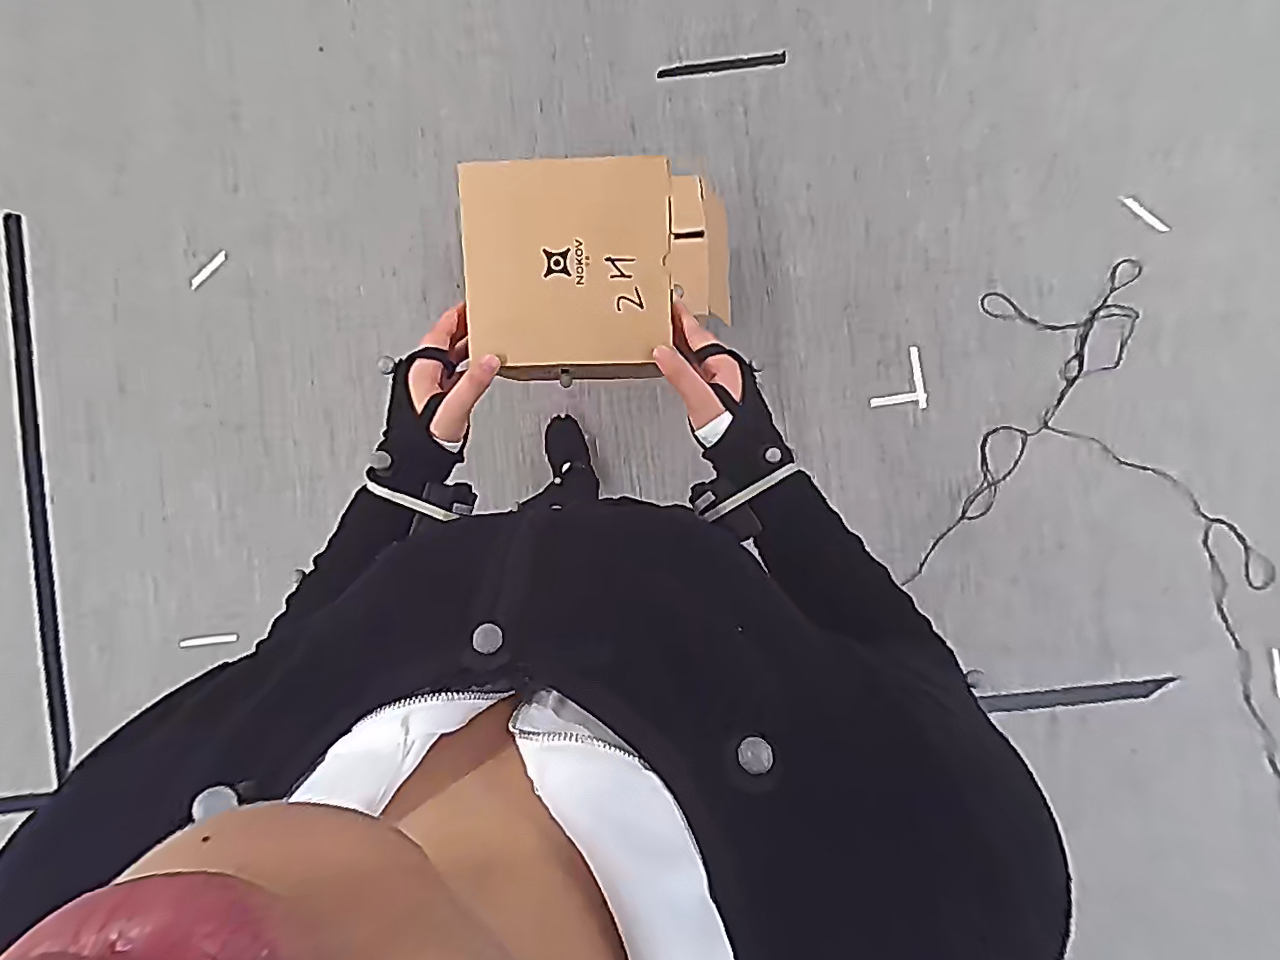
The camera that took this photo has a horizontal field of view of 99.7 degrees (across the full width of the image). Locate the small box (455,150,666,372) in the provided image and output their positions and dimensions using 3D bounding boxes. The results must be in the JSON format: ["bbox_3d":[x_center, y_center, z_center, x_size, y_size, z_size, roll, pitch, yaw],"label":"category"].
[{"bbox_3d":[-0.064,-0.197,0.532,0.179,0.176,0.168,-1,97,0],"label":"small box"}]
